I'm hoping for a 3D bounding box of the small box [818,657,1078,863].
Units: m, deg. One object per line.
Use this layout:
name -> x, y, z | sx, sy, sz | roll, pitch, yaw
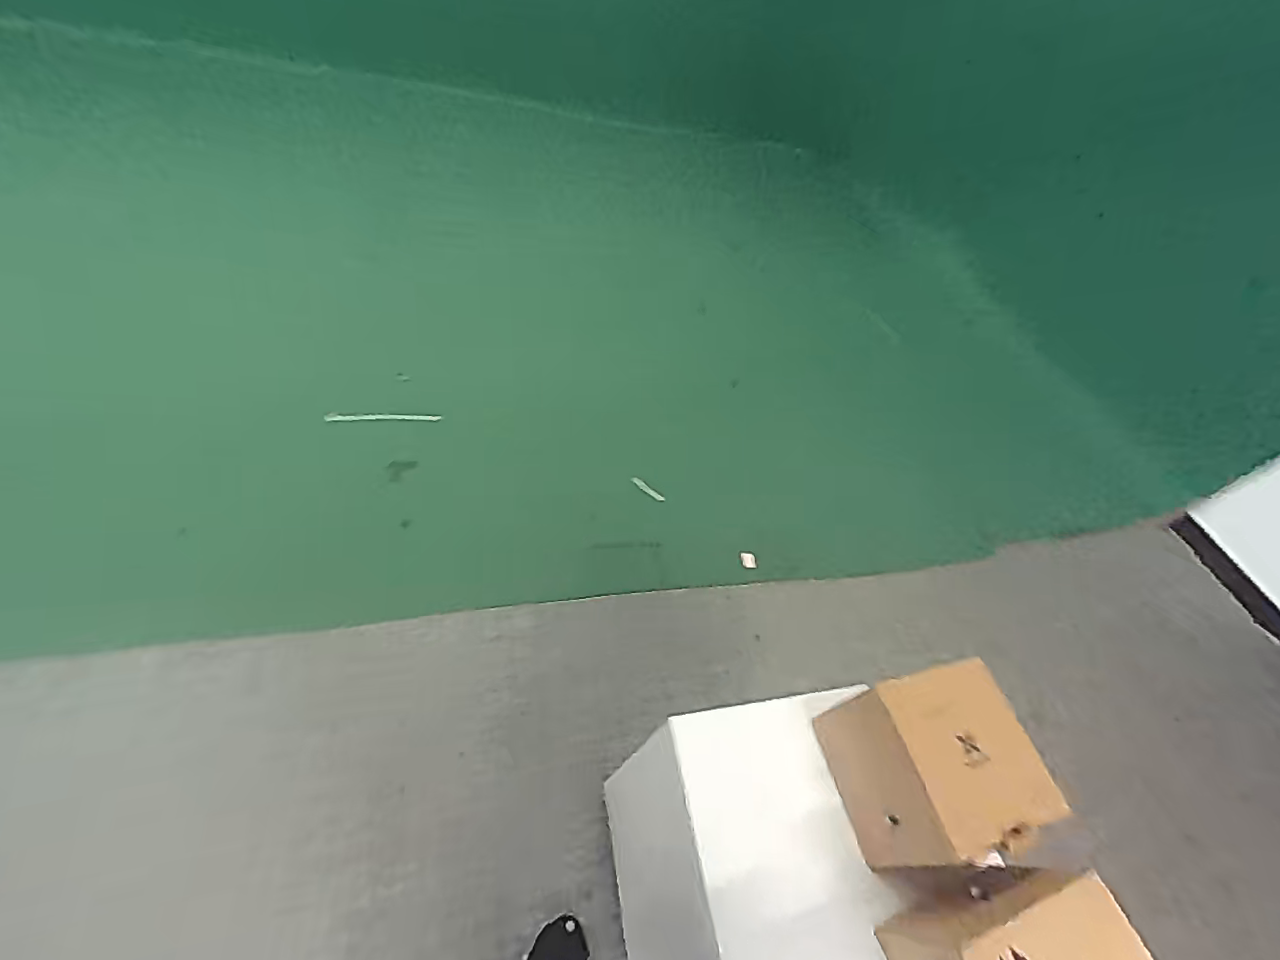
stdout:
small box -> 0.351, 0.339, 0.655 | 0.168, 0.176, 0.179 | -5, 55, -19
